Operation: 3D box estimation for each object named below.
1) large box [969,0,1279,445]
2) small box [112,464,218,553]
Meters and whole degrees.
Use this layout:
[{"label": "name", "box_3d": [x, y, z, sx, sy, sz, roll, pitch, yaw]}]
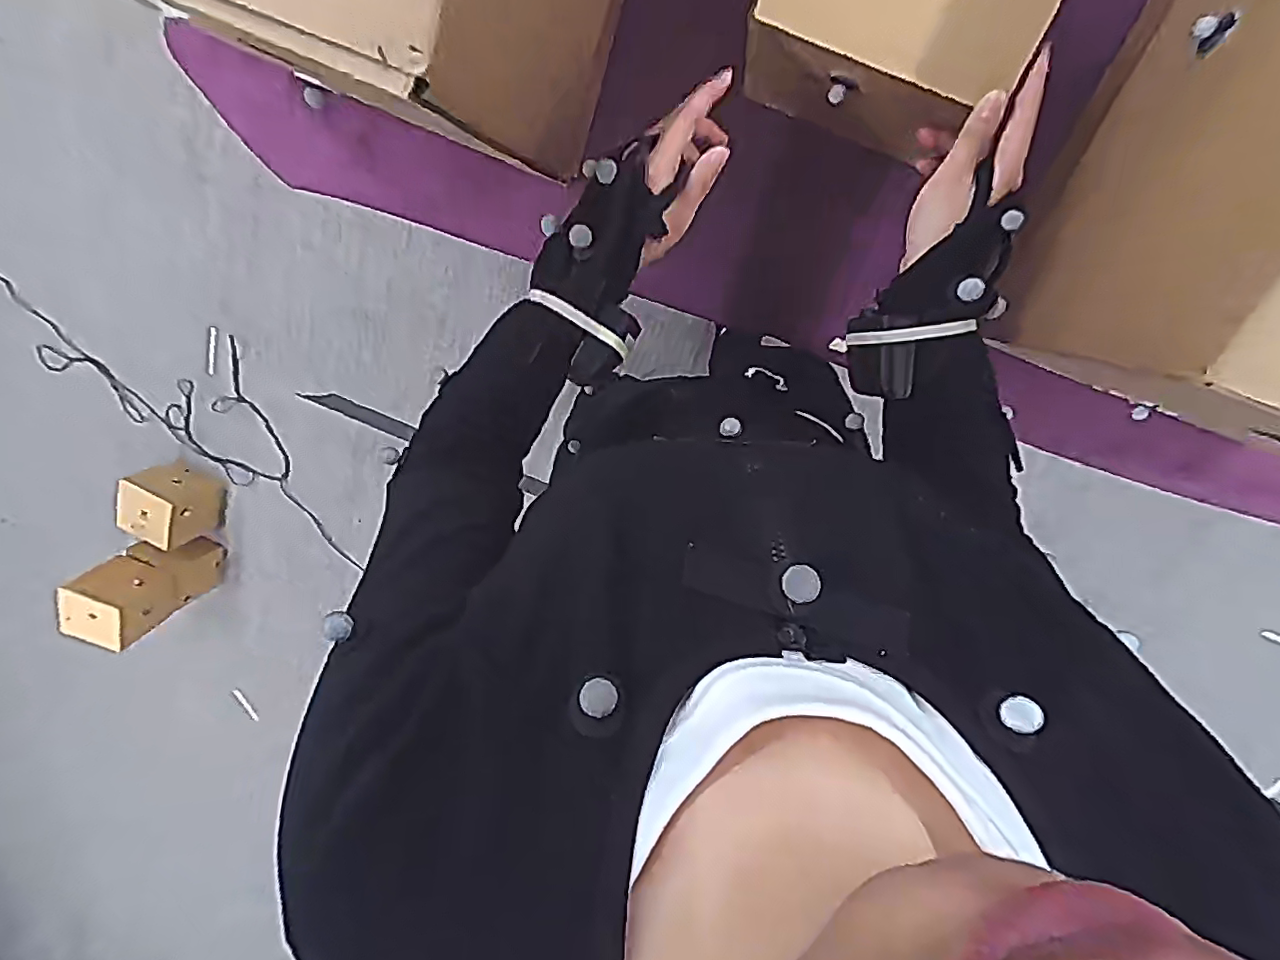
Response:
[{"label": "large box", "box_3d": [0.493, -0.217, 0.315, 0.320, 0.320, 0.408, 21, 111, 1]}, {"label": "small box", "box_3d": [-1.400, 0.076, 1.603, 0.168, 0.176, 0.179, 28, 113, -1]}]
